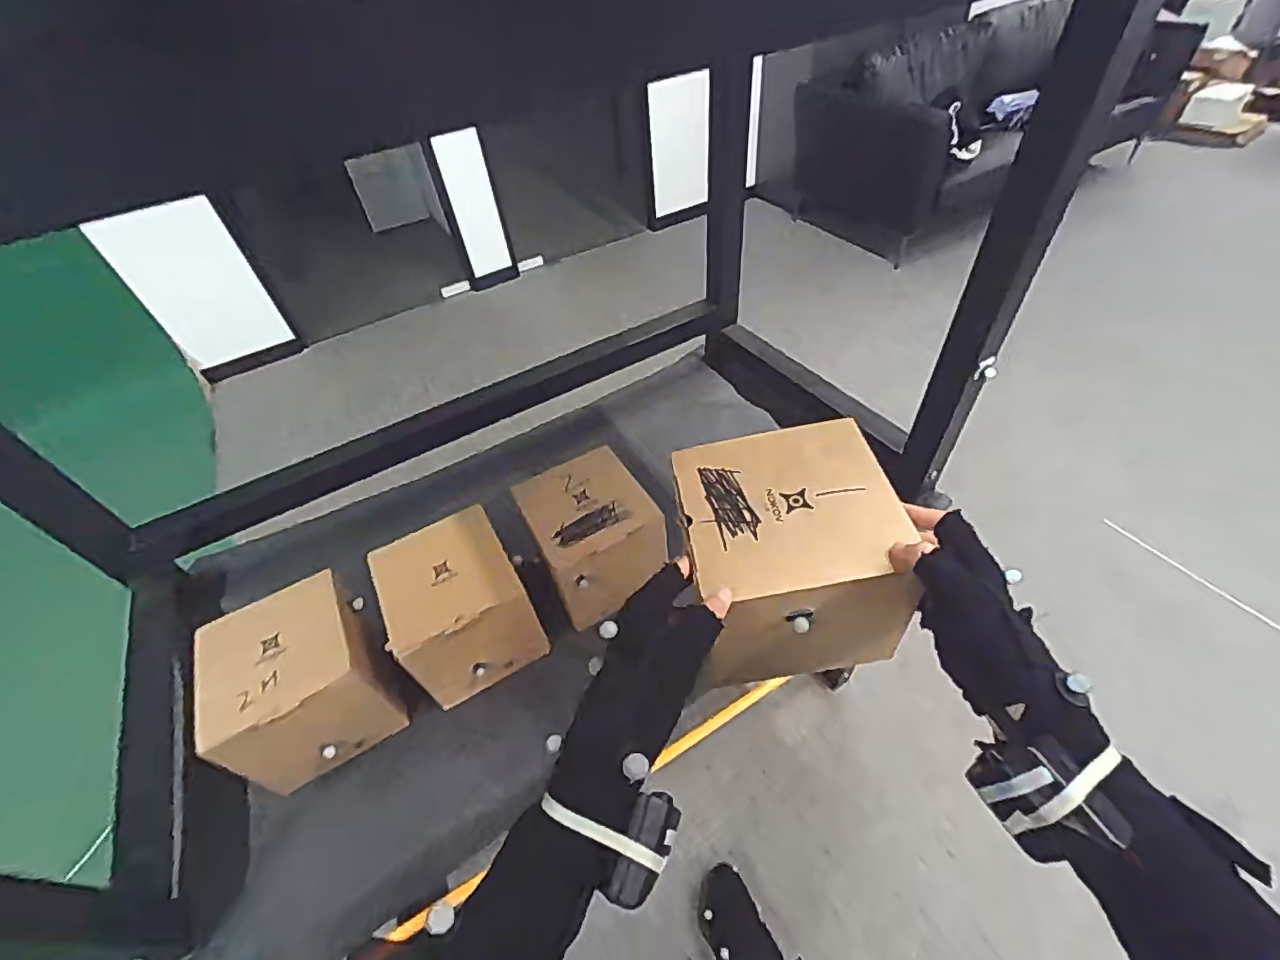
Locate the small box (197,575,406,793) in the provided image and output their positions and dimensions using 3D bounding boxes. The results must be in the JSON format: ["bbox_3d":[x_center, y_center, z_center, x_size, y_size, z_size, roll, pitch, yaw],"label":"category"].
[{"bbox_3d":[-0.430,0.264,0.704,0.168,0.176,0.179,-25,49,-17],"label":"small box"}]
